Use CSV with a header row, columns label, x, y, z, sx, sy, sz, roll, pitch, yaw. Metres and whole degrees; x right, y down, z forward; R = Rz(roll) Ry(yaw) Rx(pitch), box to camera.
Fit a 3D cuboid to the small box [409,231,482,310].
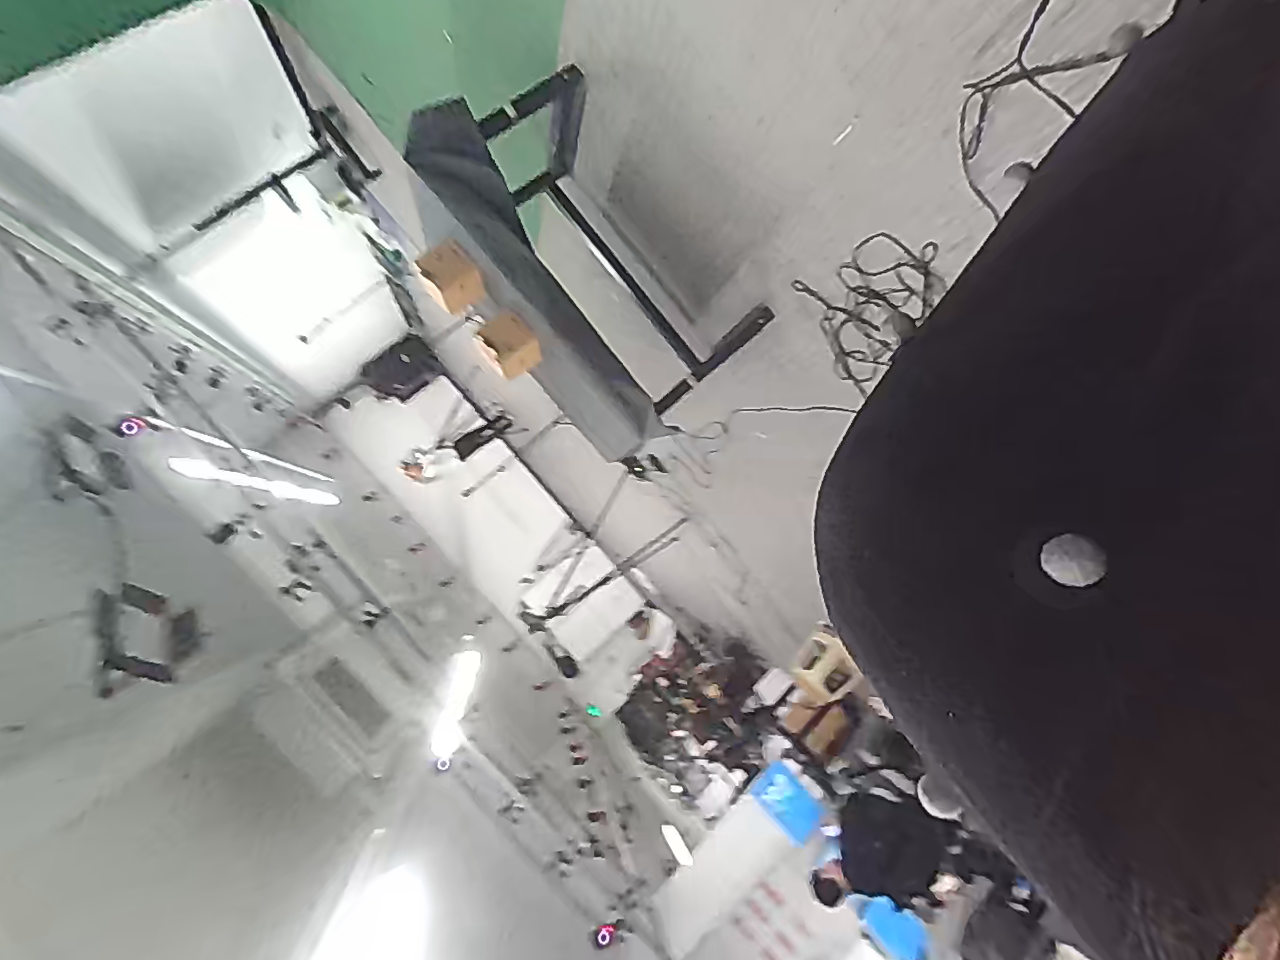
label,x,y,z,sx,sy,sz,roll,pitch,yaw
small box,-0.707,-0.770,1.985,0.168,0.176,0.179,48,167,6
